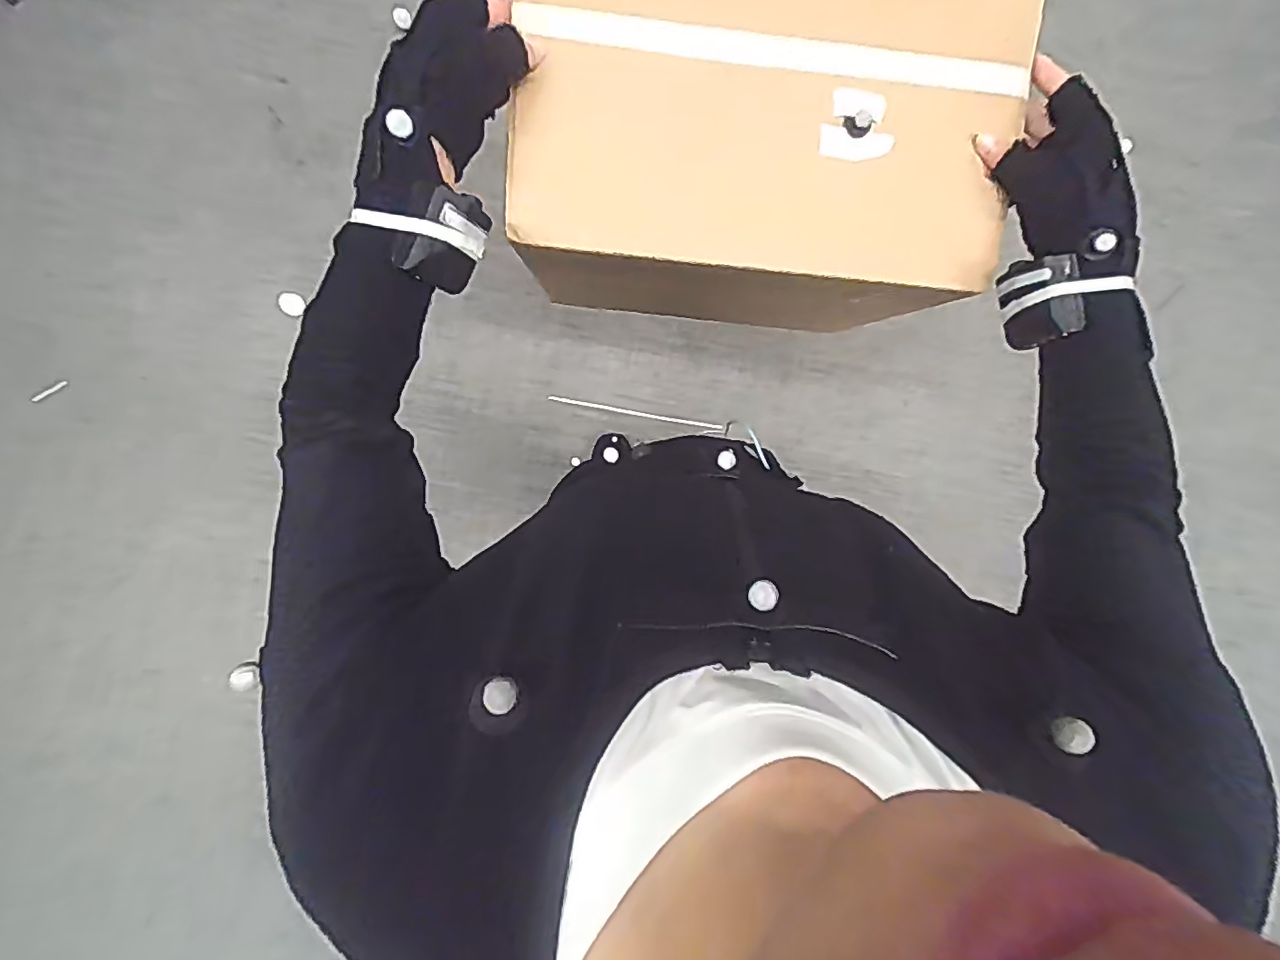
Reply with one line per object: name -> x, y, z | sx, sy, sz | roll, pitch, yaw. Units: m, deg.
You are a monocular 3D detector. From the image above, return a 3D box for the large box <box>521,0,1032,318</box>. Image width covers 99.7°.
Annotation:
large box -> 0.098, -0.362, 0.572 | 0.408, 0.320, 0.320 | 4, 100, -5
